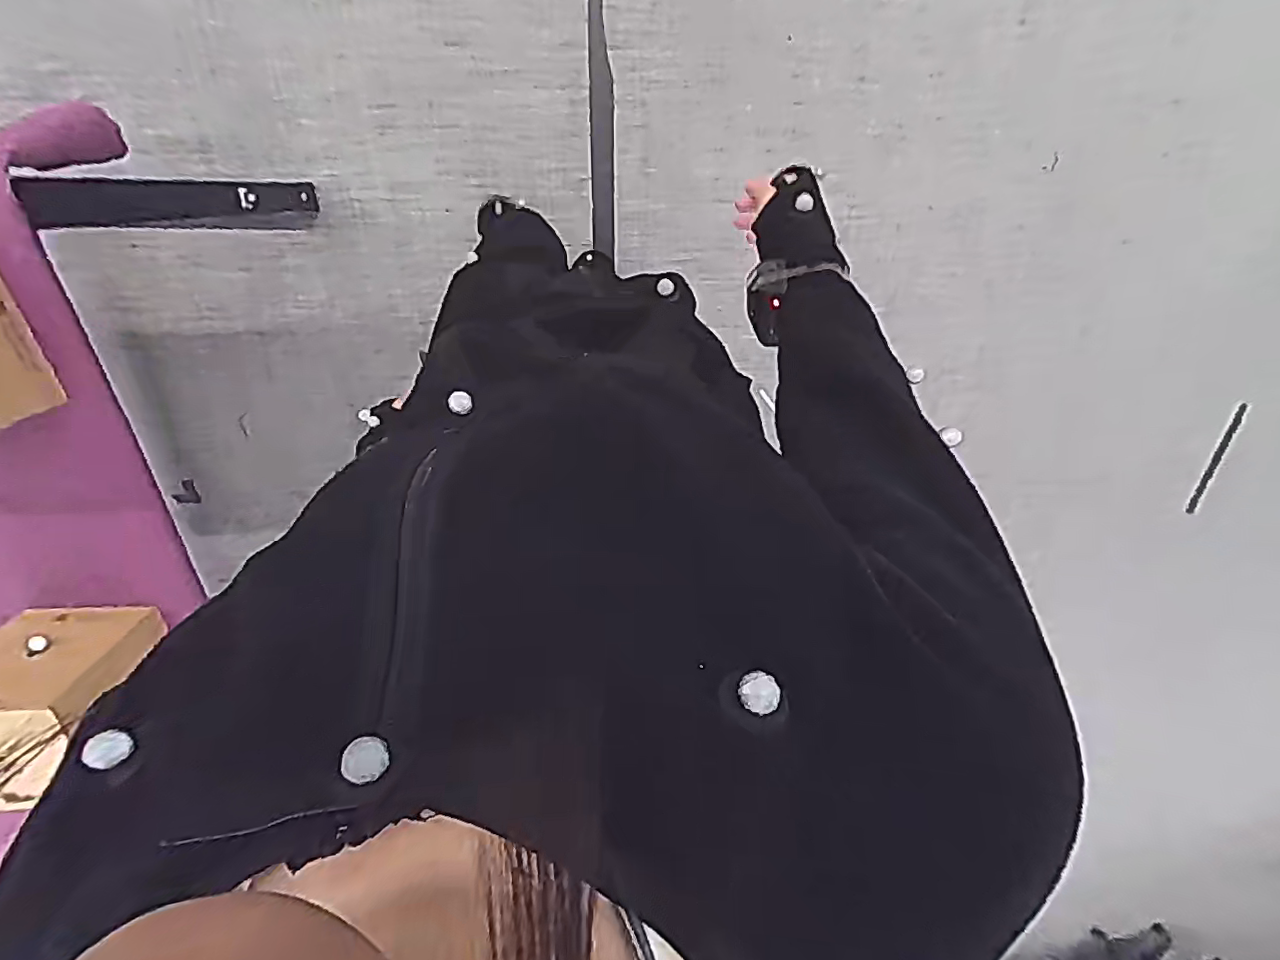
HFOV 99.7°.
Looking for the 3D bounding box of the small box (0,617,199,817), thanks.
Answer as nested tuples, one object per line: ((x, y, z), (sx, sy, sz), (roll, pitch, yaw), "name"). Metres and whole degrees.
((-0.721, 0.289, 0.687), (0.168, 0.176, 0.179), (0, 117, -5), "small box")
